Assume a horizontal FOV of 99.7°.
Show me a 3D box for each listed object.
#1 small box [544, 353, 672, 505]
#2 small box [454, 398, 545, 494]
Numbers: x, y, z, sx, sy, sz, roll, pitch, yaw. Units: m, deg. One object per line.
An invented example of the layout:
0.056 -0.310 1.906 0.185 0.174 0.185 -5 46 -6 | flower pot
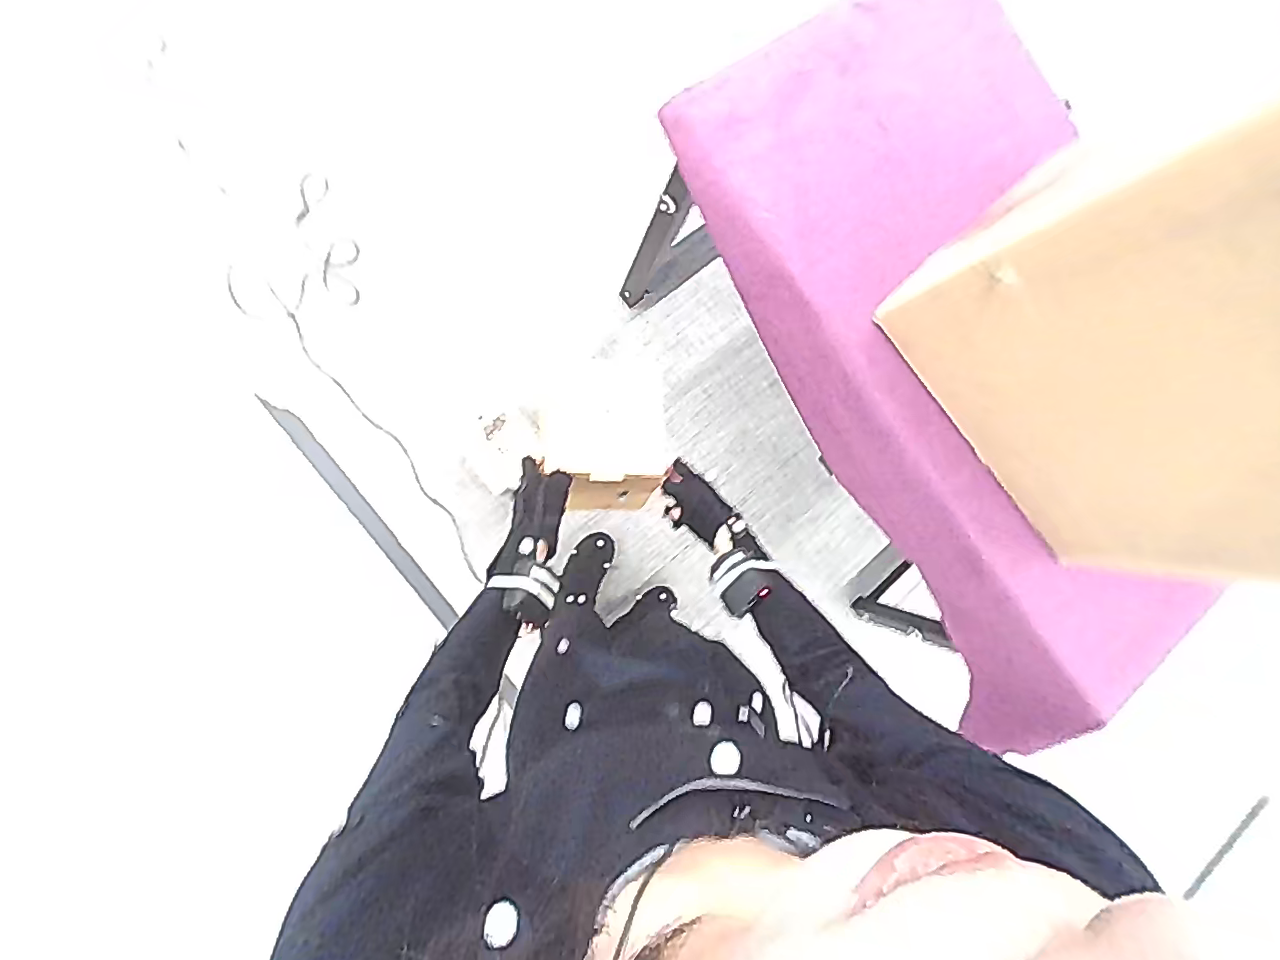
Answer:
-0.056 -0.066 0.812 0.168 0.176 0.179 2 69 -13 | small box
-0.339 -0.076 1.356 0.168 0.176 0.179 -37 95 -10 | small box
